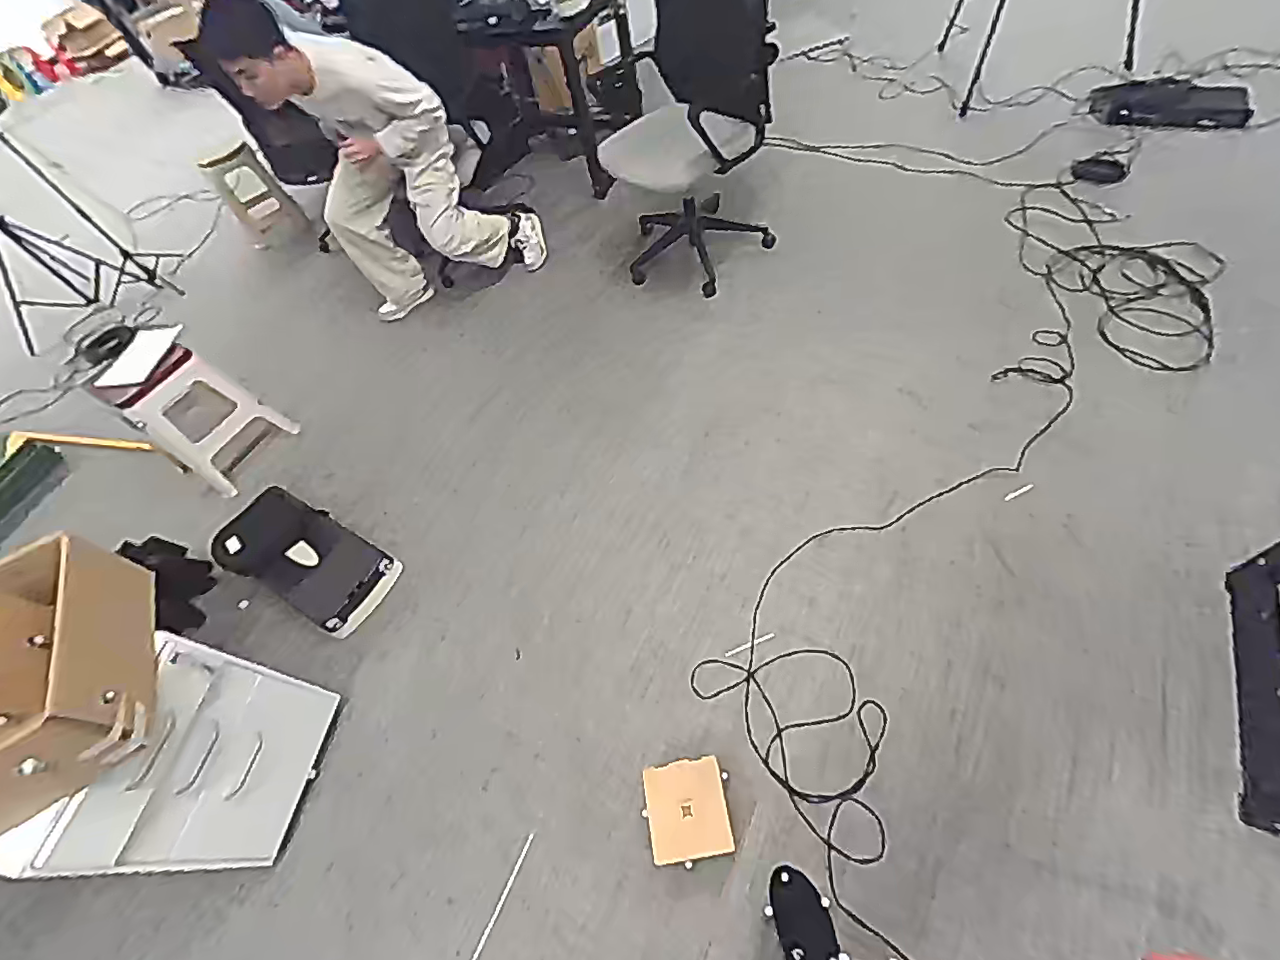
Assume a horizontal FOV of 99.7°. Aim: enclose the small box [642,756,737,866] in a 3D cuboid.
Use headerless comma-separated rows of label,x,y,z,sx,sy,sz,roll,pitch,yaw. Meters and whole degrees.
small box,0.111,0.724,1.185,0.168,0.176,0.179,-14,55,3
